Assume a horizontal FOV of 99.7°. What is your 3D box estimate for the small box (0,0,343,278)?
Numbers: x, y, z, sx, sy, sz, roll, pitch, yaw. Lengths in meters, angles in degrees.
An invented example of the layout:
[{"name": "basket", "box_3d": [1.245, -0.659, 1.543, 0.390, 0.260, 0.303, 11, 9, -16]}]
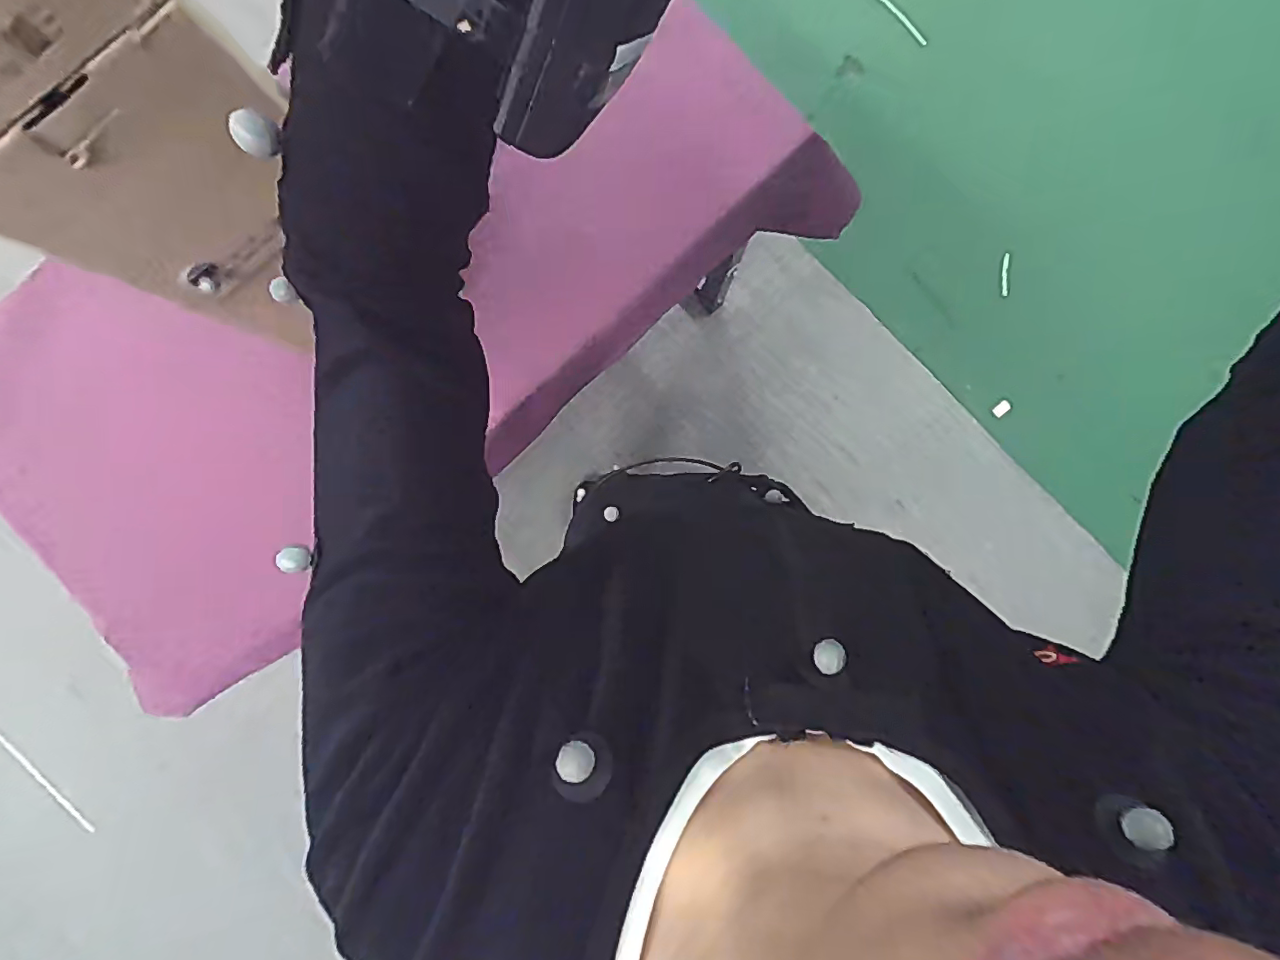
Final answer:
[{"name": "small box", "box_3d": [-0.346, -0.261, 0.356, 0.168, 0.176, 0.179, -40, 88, 0]}]
